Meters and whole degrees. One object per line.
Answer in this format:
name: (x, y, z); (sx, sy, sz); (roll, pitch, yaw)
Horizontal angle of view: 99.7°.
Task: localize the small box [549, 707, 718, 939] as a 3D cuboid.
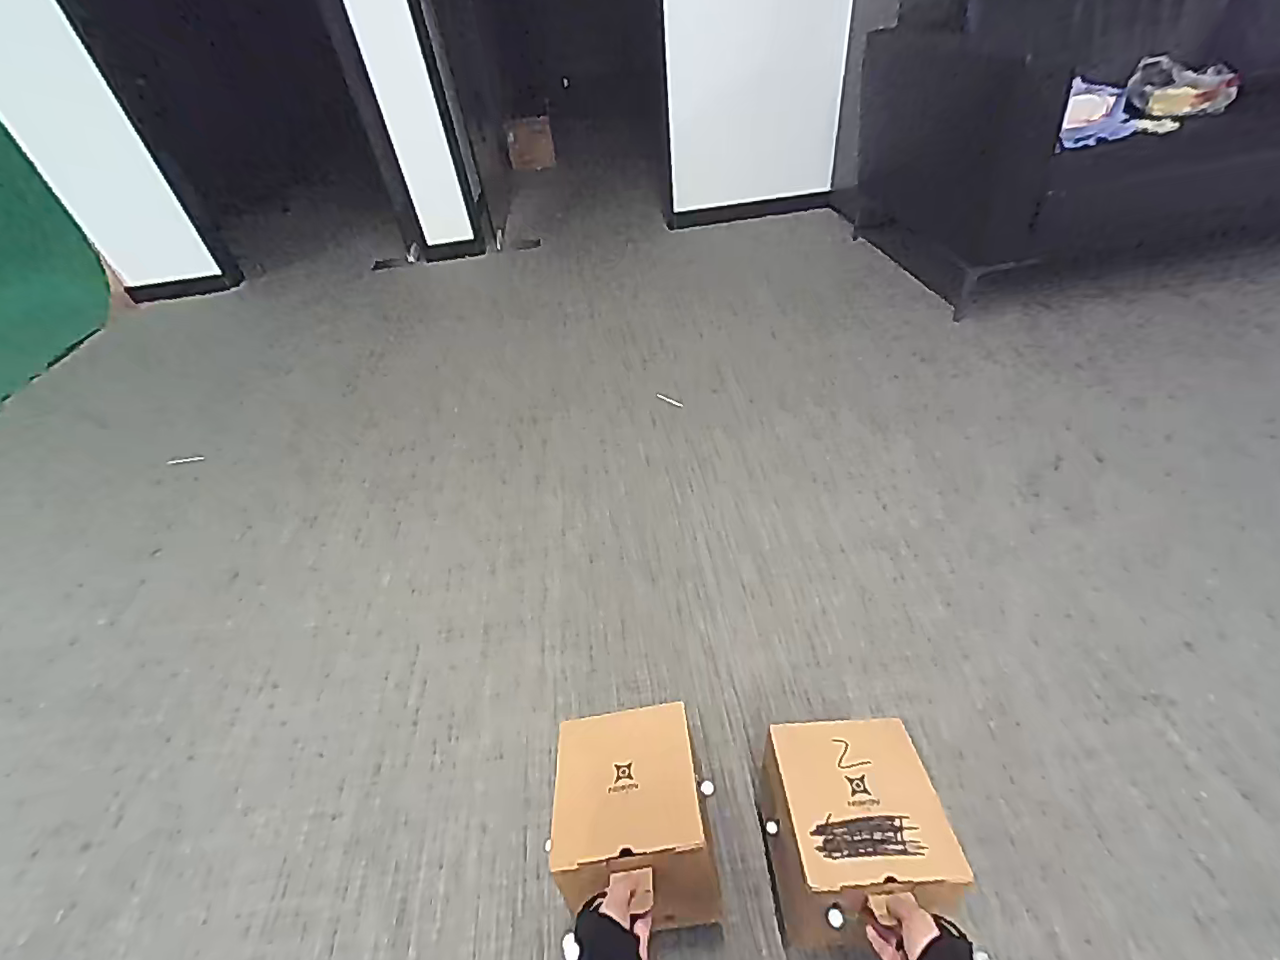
small box: (-0.004, 0.417, 0.666); (0.168, 0.176, 0.179); (-11, 30, 3)
